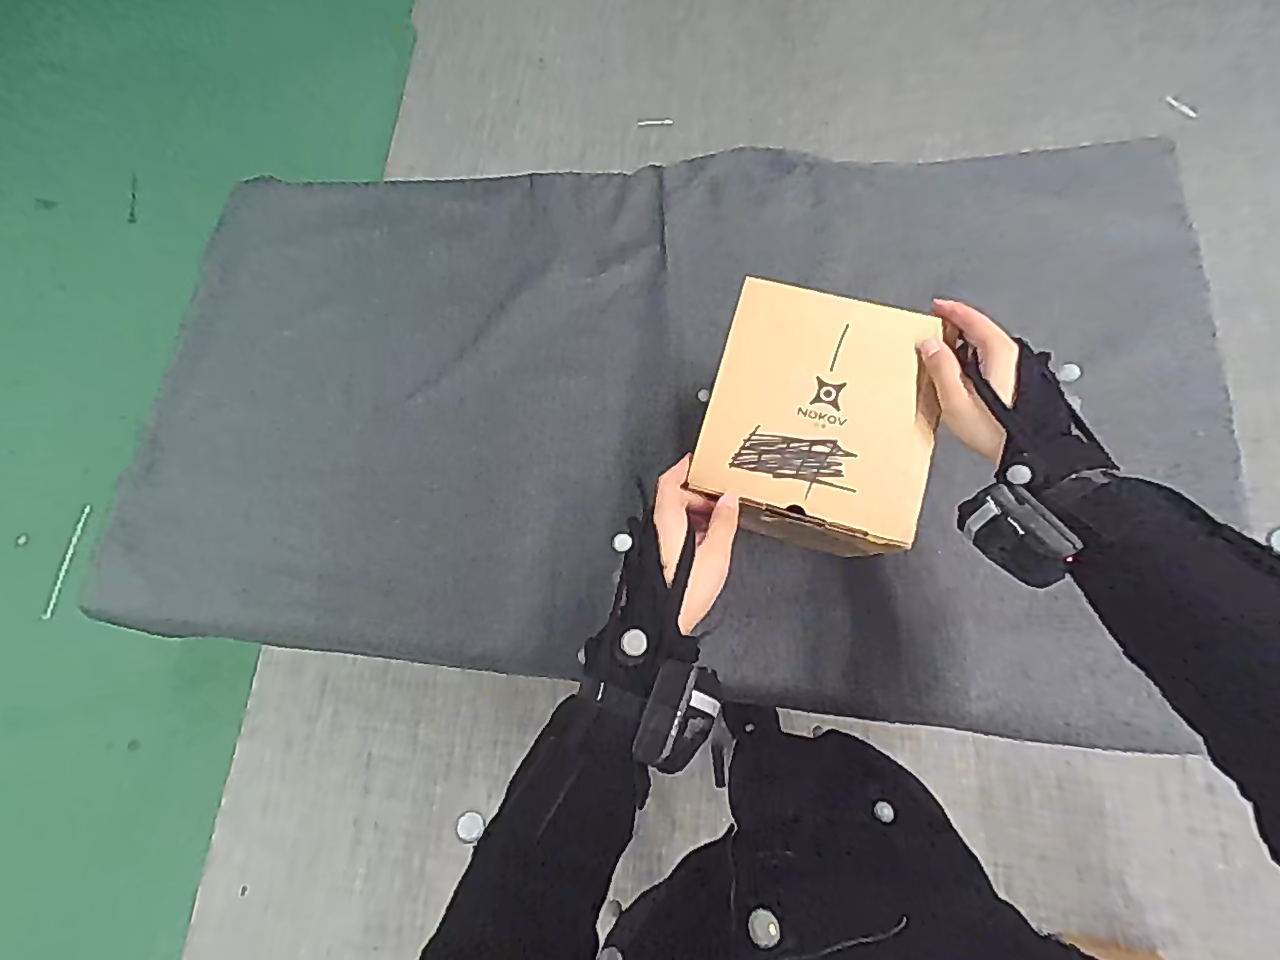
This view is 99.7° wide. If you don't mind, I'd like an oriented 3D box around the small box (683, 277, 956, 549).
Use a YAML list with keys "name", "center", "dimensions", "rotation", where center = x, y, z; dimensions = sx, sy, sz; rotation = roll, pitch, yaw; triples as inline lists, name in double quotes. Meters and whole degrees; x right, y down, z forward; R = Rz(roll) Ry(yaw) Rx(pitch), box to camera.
- name: "small box"
  center: [0.142, -0.043, 0.479]
  dimensions: [0.168, 0.176, 0.179]
  rotation: [16, 81, 8]

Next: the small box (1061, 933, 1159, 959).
- name: "small box"
  center: [0.826, 0.902, 0.883]
  dimensions: [0.168, 0.176, 0.179]
  rotation: [6, 76, 10]
